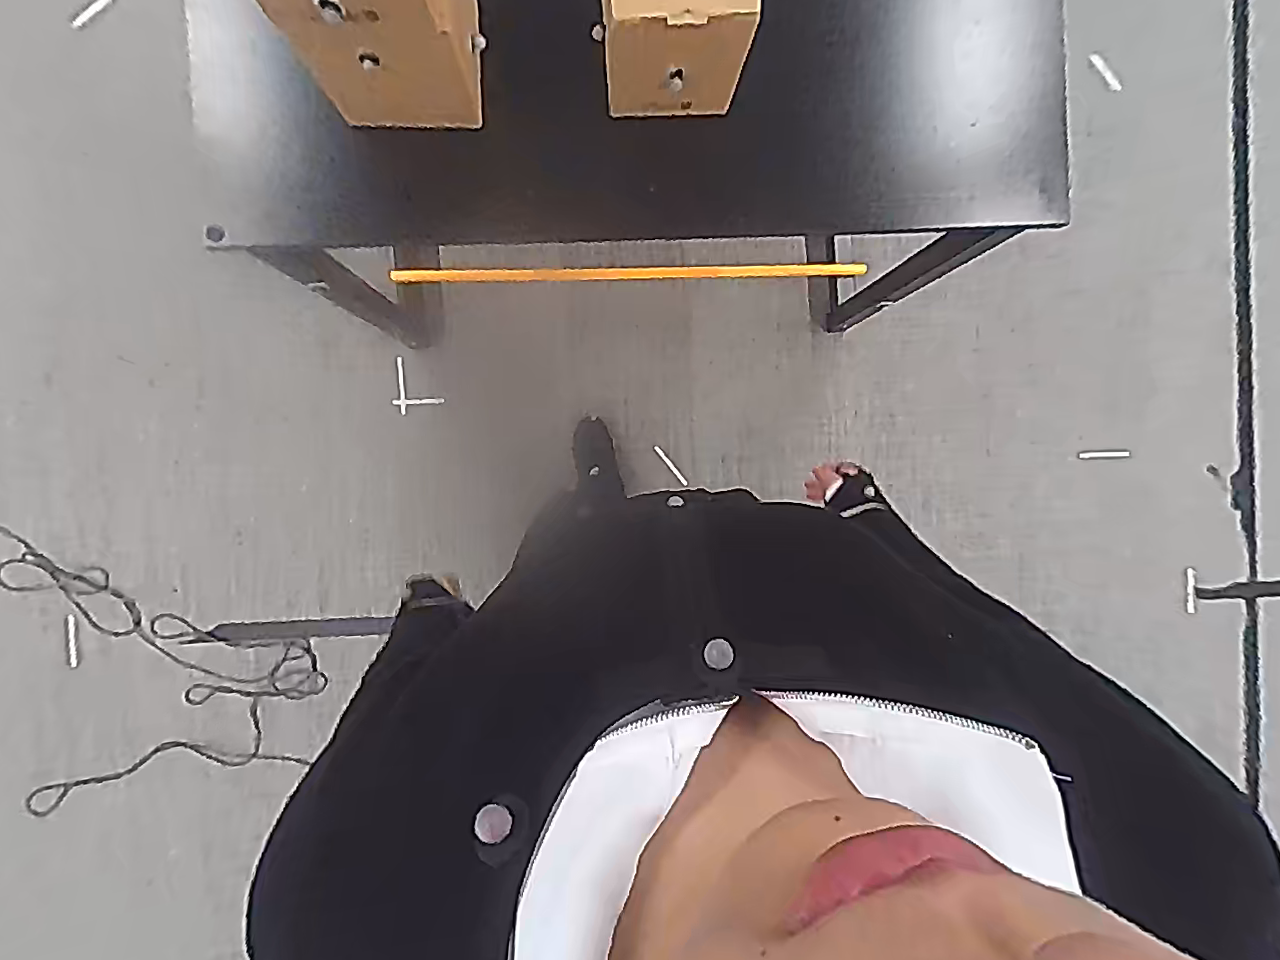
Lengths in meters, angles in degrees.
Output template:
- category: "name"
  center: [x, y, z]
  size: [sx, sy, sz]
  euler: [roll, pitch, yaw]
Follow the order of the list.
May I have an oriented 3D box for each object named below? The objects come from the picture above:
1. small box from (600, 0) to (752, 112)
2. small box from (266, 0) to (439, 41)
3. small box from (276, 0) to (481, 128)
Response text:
- category: "small box"
  center: [0.035, -0.589, 0.669]
  size: [0.168, 0.176, 0.179]
  euler: [-4, 92, -3]
- category: "small box"
  center: [-0.291, -0.547, 0.484]
  size: [0.168, 0.176, 0.179]
  euler: [-3, 93, -3]
- category: "small box"
  center: [-0.299, -0.553, 0.646]
  size: [0.179, 0.176, 0.168]
  euler: [-2, 92, -5]
